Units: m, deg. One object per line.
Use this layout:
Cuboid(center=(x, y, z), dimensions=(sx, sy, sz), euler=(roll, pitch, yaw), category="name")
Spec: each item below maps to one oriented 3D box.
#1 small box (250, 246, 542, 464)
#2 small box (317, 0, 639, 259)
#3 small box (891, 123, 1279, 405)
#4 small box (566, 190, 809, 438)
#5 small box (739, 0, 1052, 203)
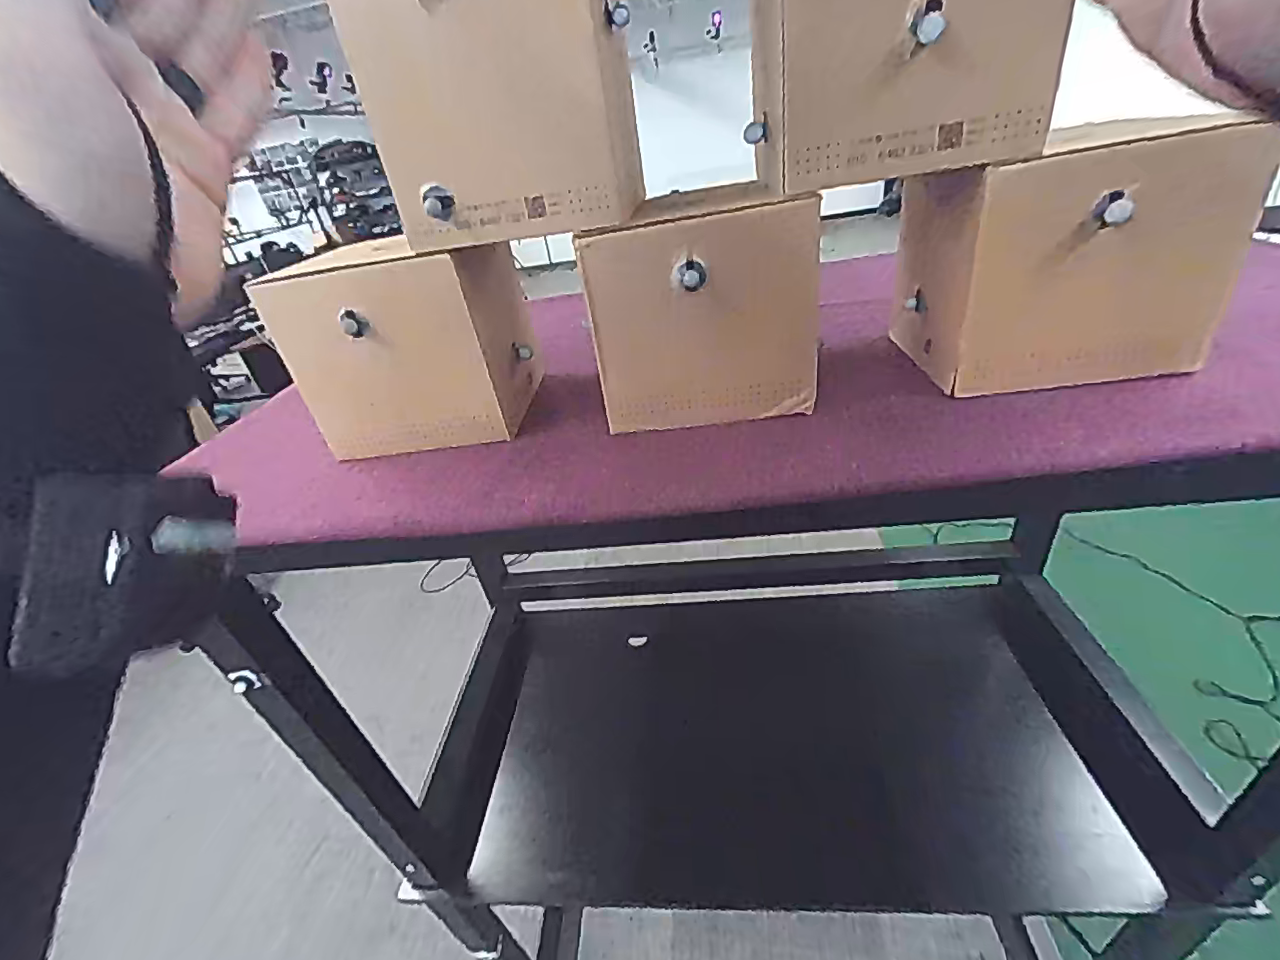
Cuboid(center=(-0.214, -0.128, 0.532), dimensions=(0.179, 0.176, 0.168), euler=(-7, 33, 7), category="small box")
Cuboid(center=(-0.099, -0.281, 0.429), dimensions=(0.168, 0.176, 0.179), euler=(-4, 32, 10), category="small box")
Cuboid(center=(0.324, -0.178, 0.446), dimensions=(0.179, 0.176, 0.168), euler=(-7, 32, 10), category="small box")
Cuboid(center=(0.050, -0.148, 0.485), dimensions=(0.179, 0.176, 0.168), euler=(-5, 32, 8), category="small box")
Cuboid(center=(0.166, -0.306, 0.388), dimensions=(0.168, 0.176, 0.179), euler=(-6, 32, 8), category="small box")
